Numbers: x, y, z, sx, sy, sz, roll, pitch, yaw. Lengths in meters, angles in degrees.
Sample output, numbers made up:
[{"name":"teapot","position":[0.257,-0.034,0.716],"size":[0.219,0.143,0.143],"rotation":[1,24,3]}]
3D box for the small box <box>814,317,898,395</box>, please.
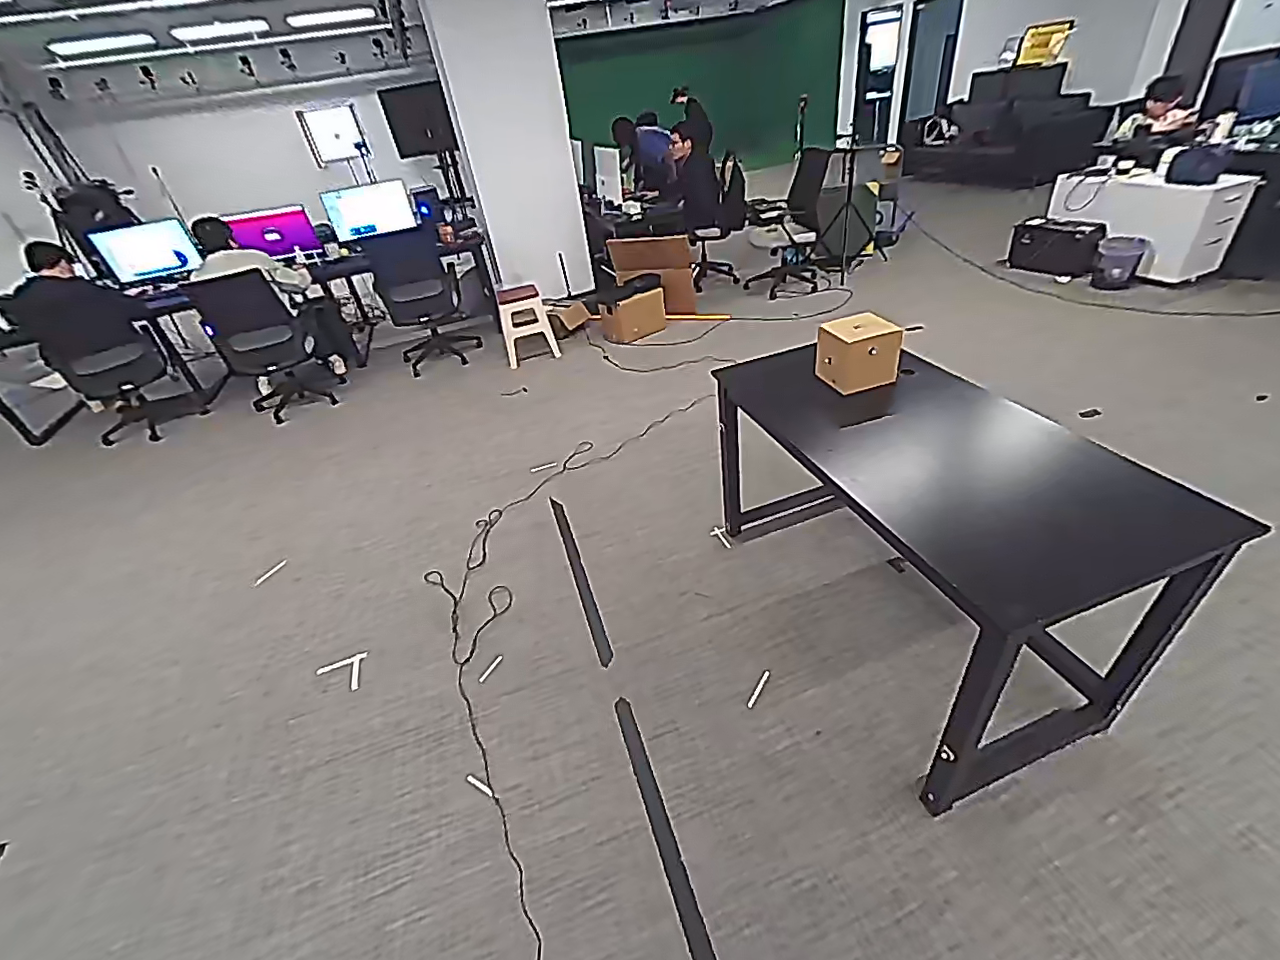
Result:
[{"name":"small box","position":[0.647,-0.373,1.638],"size":[0.179,0.176,0.168],"rotation":[-16,36,-8]}]
